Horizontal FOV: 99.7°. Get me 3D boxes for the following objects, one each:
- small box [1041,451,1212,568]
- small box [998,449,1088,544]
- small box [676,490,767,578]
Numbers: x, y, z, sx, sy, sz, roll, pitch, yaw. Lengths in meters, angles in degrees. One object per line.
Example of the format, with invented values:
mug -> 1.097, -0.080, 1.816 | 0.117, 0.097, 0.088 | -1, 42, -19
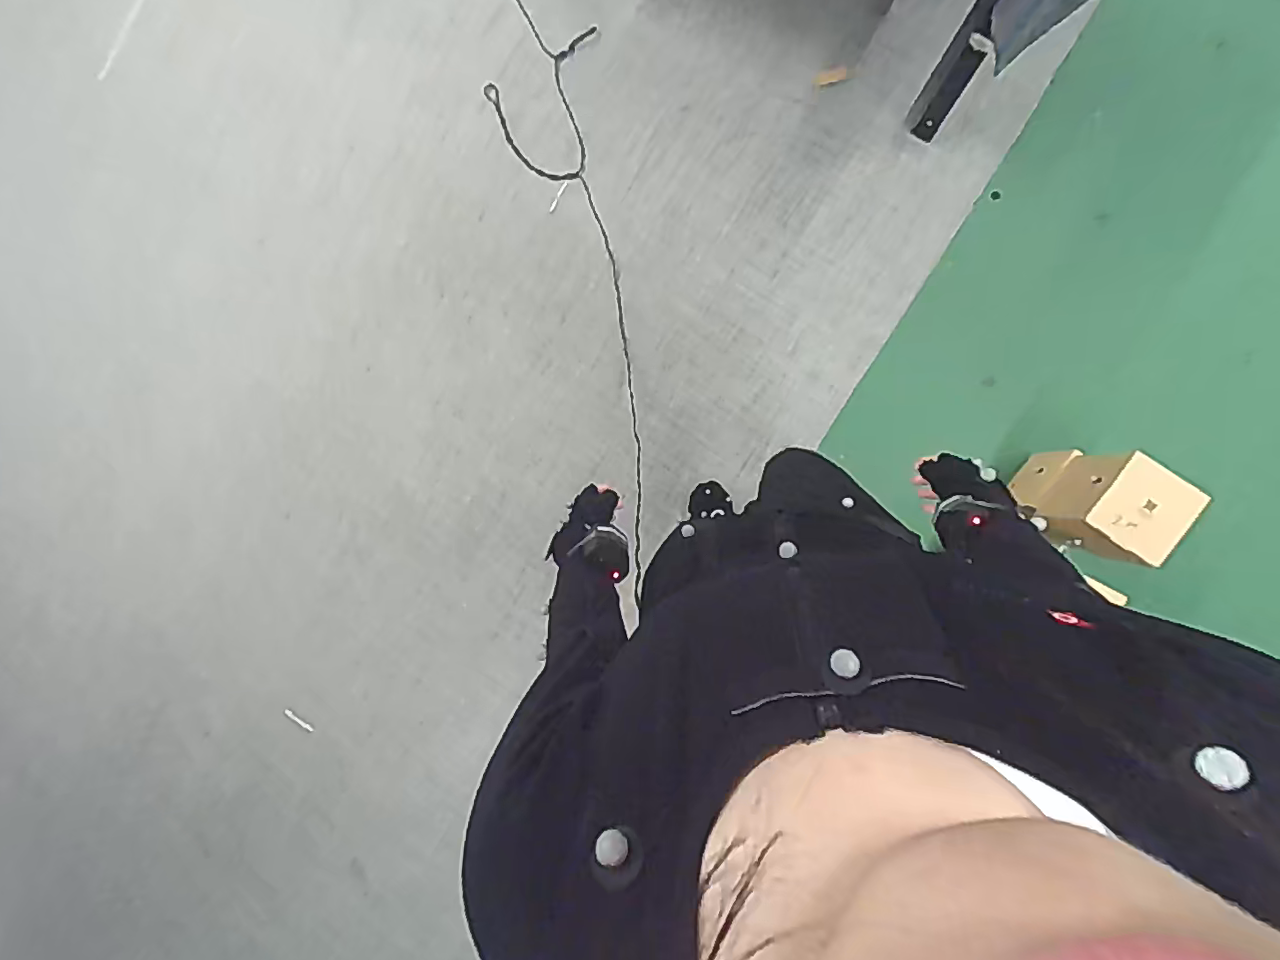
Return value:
small box -> 1.005, 0.058, 1.139 | 0.168, 0.176, 0.179 | 36, 93, 5
small box -> 1.021, 0.047, 1.304 | 0.179, 0.176, 0.168 | 37, 93, 5
small box -> 0.210, 0.136, 1.418 | 0.179, 0.176, 0.168 | 25, 104, 23
